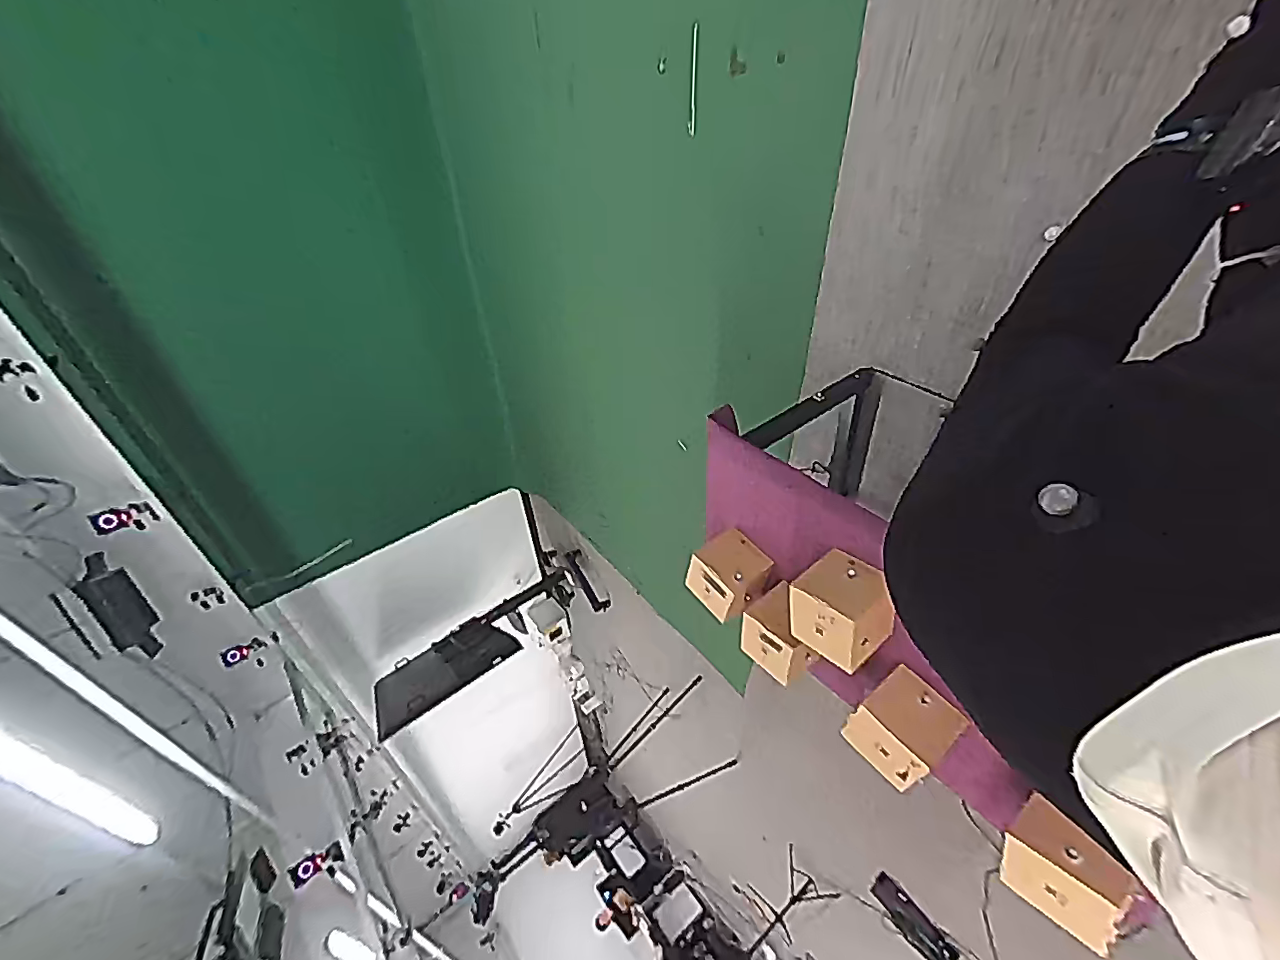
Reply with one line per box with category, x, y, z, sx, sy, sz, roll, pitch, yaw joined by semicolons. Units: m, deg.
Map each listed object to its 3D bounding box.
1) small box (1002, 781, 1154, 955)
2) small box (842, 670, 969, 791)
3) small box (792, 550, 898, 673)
small box;0.833;0.729;1.034;0.179;0.176;0.168;24;133;51
small box;0.616;0.574;1.262;0.179;0.176;0.168;43;147;32
small box;0.472;0.297;1.248;0.168;0.176;0.179;29;140;45
